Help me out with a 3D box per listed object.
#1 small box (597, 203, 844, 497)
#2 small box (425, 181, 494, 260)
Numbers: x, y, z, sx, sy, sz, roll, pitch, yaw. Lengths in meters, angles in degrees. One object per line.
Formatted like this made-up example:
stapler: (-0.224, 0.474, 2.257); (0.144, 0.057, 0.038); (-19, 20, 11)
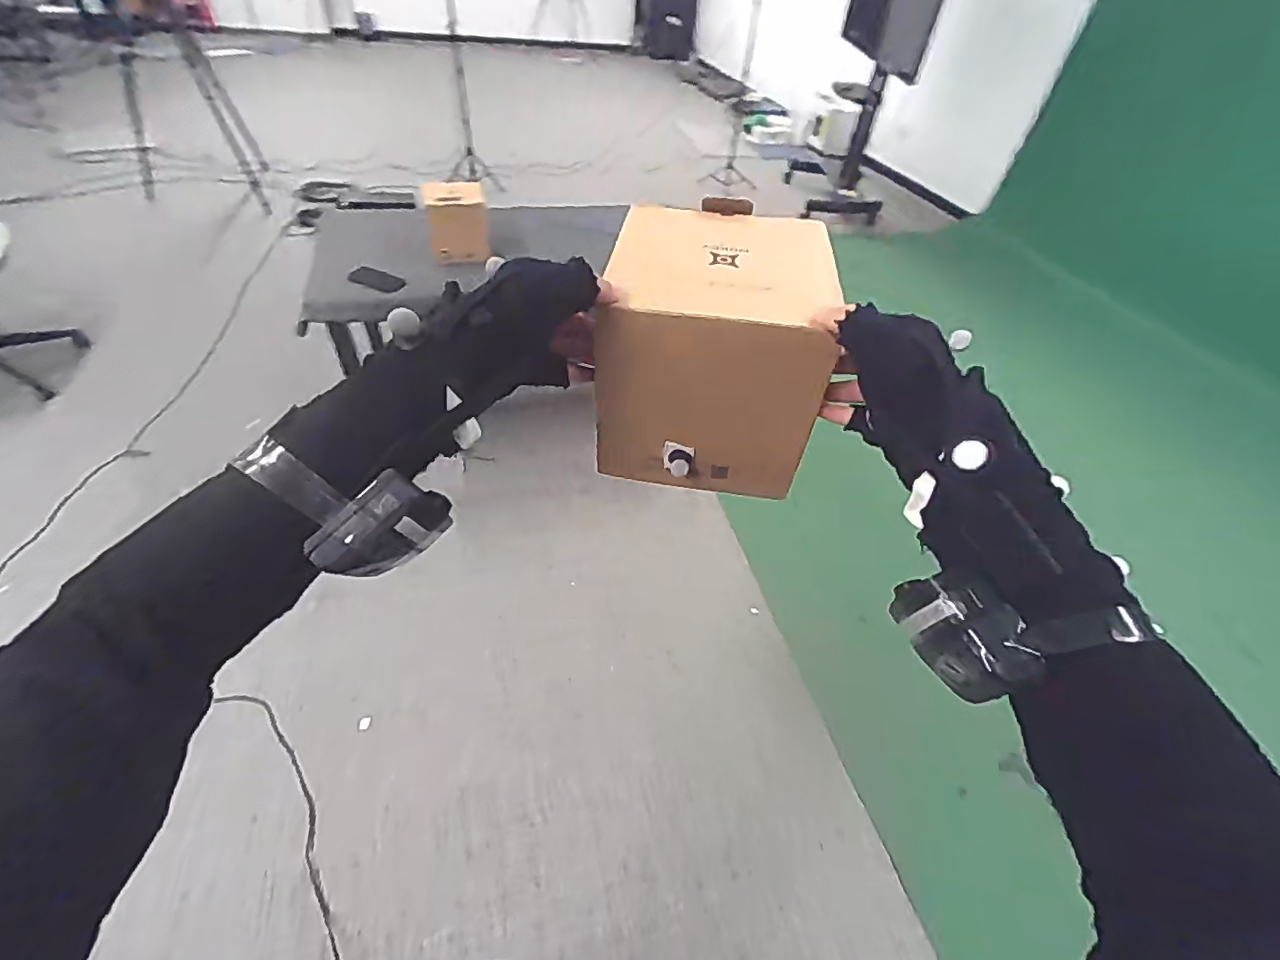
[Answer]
small box: (0.057, -0.111, 0.466); (0.168, 0.176, 0.179); (6, 49, 3)
small box: (-0.535, -0.769, 1.609); (0.168, 0.176, 0.179); (-10, 47, -16)
